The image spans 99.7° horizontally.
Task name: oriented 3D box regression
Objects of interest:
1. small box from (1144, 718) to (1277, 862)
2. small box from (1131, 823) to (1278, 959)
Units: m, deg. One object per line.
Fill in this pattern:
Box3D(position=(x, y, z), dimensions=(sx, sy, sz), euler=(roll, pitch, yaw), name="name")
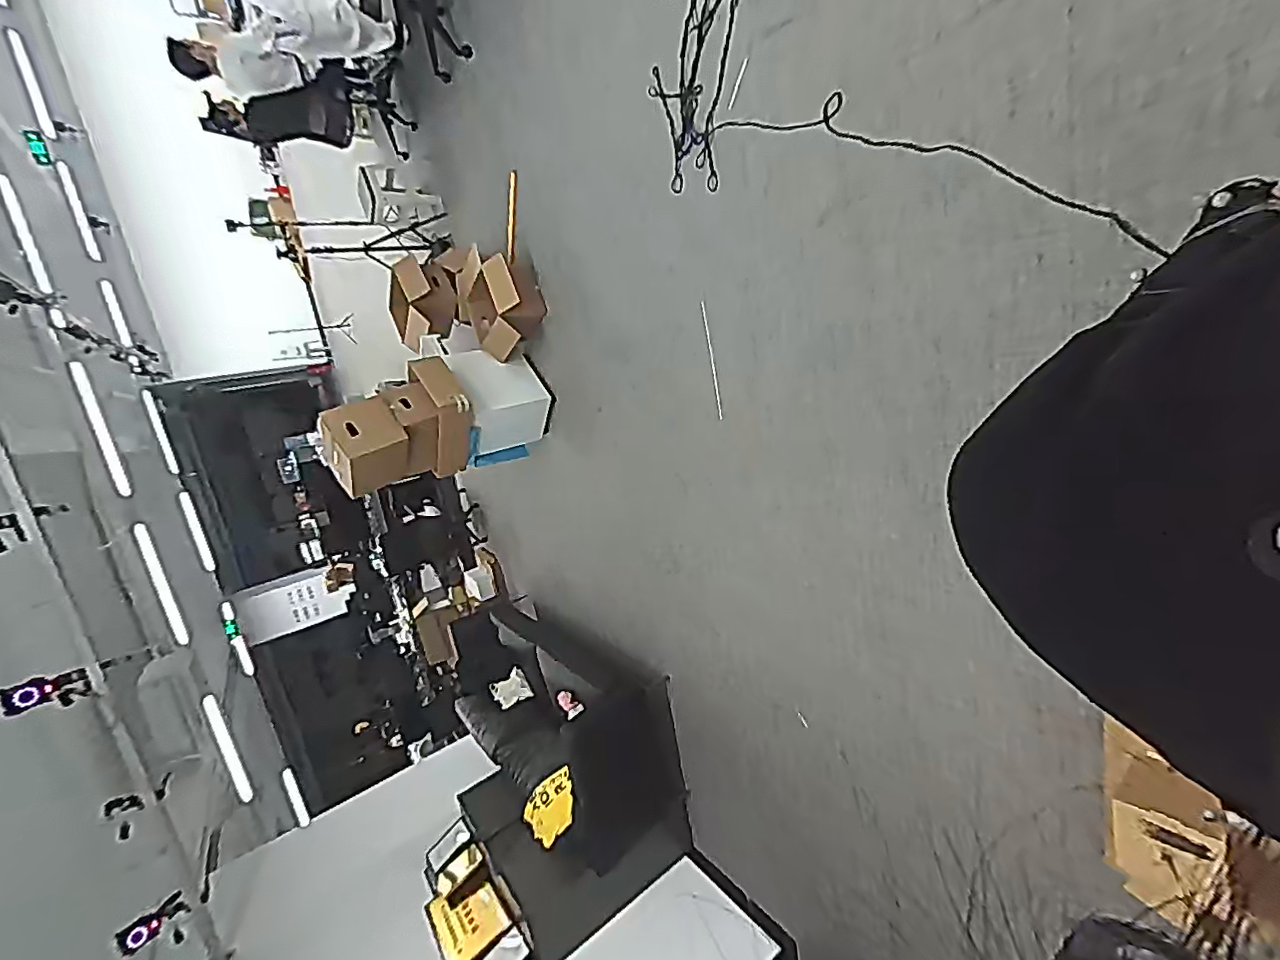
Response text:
Box3D(position=(1.235, 0.657, 1.171), dimensions=(0.168, 0.176, 0.179), euler=(14, 117, 54), name="small box")
Box3D(position=(1.278, 0.903, 1.225), dimensions=(0.179, 0.176, 0.168), euler=(31, 130, 48), name="small box")
